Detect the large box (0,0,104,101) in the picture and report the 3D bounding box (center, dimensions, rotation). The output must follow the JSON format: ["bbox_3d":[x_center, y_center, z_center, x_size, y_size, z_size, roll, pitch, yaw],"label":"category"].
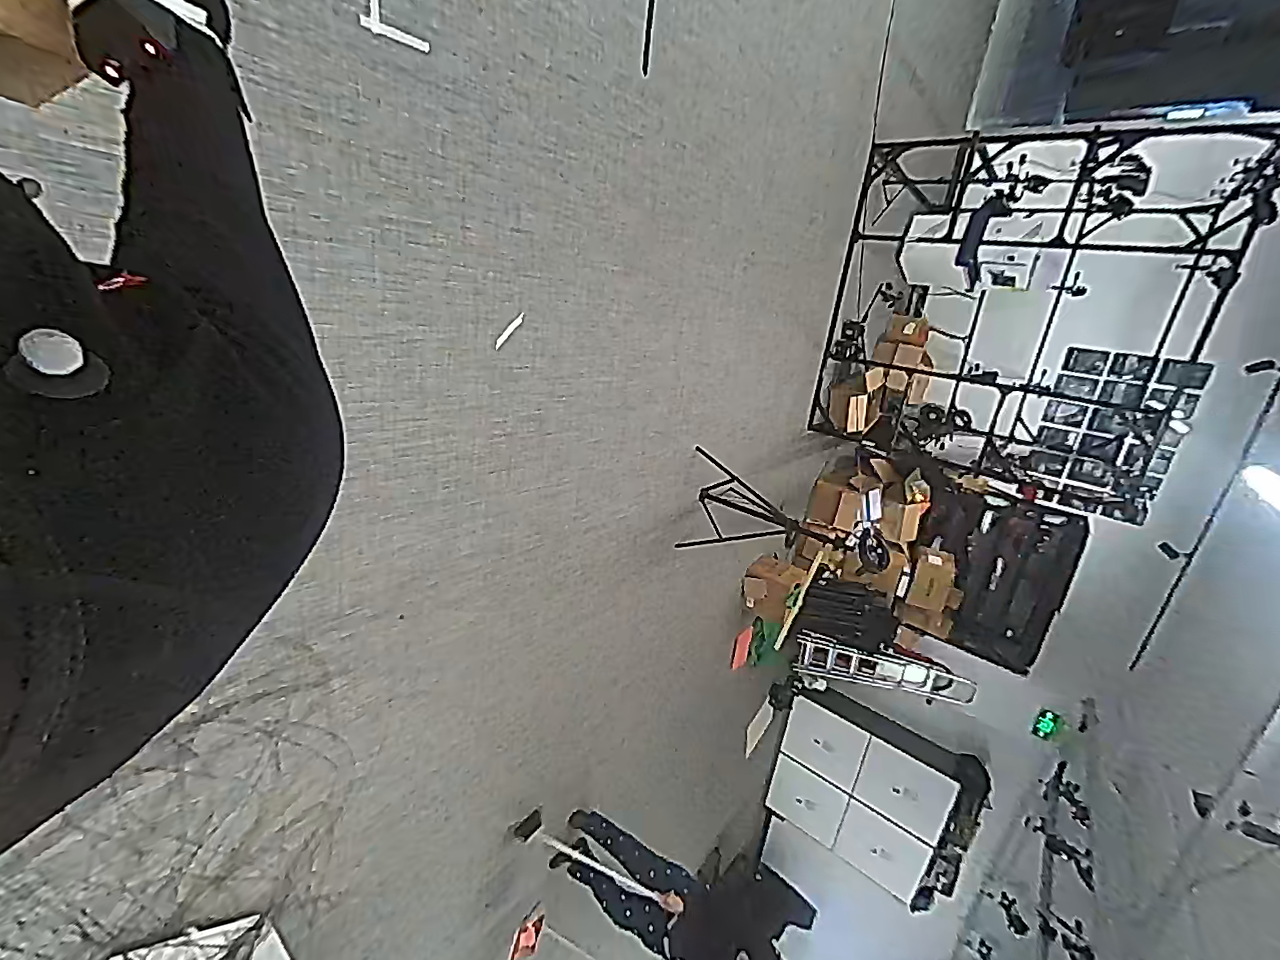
[{"bbox_3d":[-0.636,-0.513,0.329,0.408,0.320,0.320,-1,109,-56],"label":"large box"}]
